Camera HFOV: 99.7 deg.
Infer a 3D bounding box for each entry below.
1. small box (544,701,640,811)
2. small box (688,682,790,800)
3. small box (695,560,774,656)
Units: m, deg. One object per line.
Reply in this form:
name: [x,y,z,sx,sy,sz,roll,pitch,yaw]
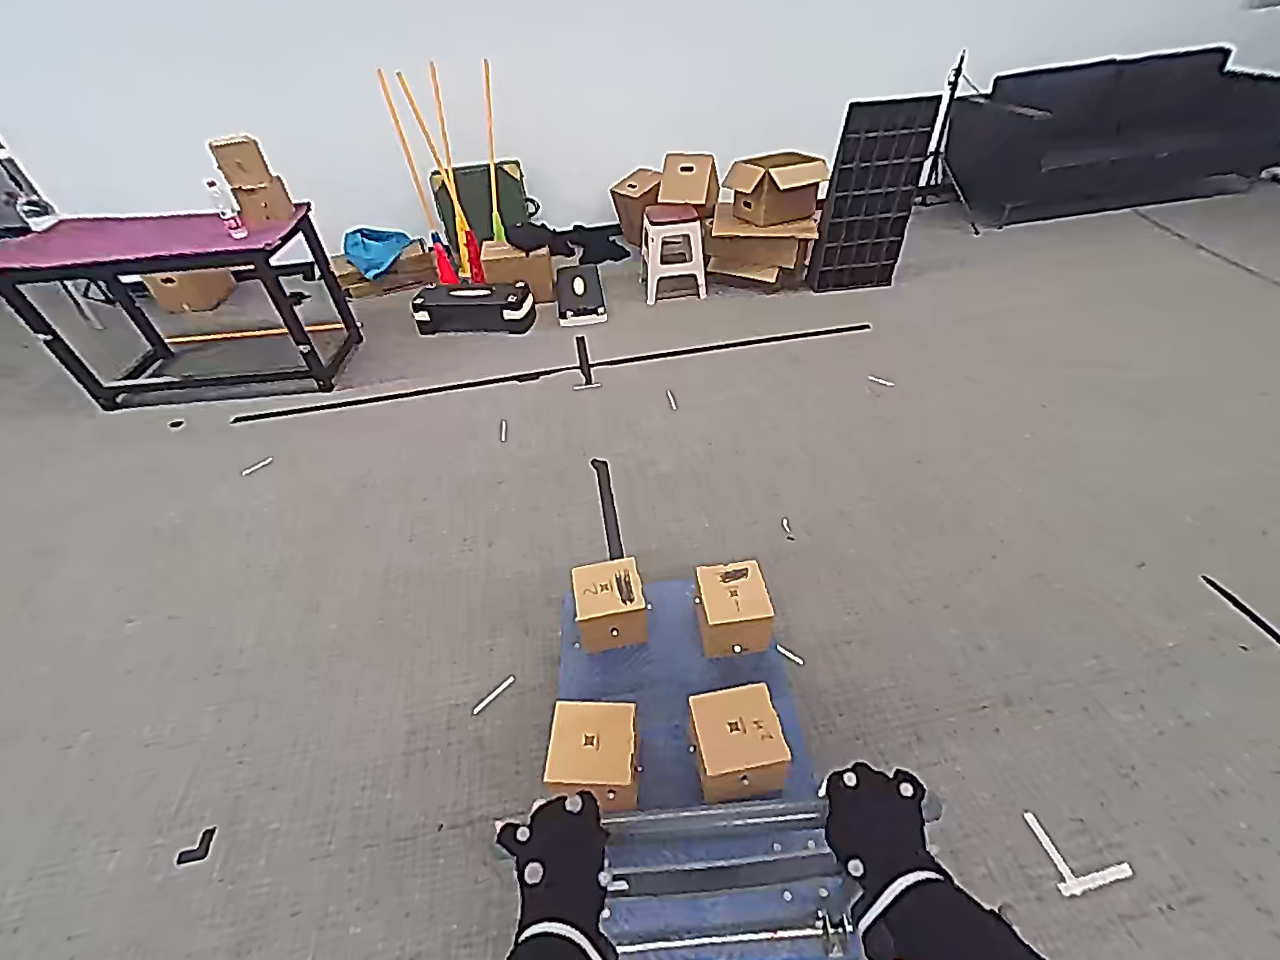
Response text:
small box: [-0.095,0.597,1.167,0.179,0.176,0.168,0,43,3]
small box: [0.207,0.567,1.170,0.179,0.176,0.168,-9,43,-4]
small box: [0.238,0.336,1.417,0.168,0.176,0.179,-7,44,-3]
